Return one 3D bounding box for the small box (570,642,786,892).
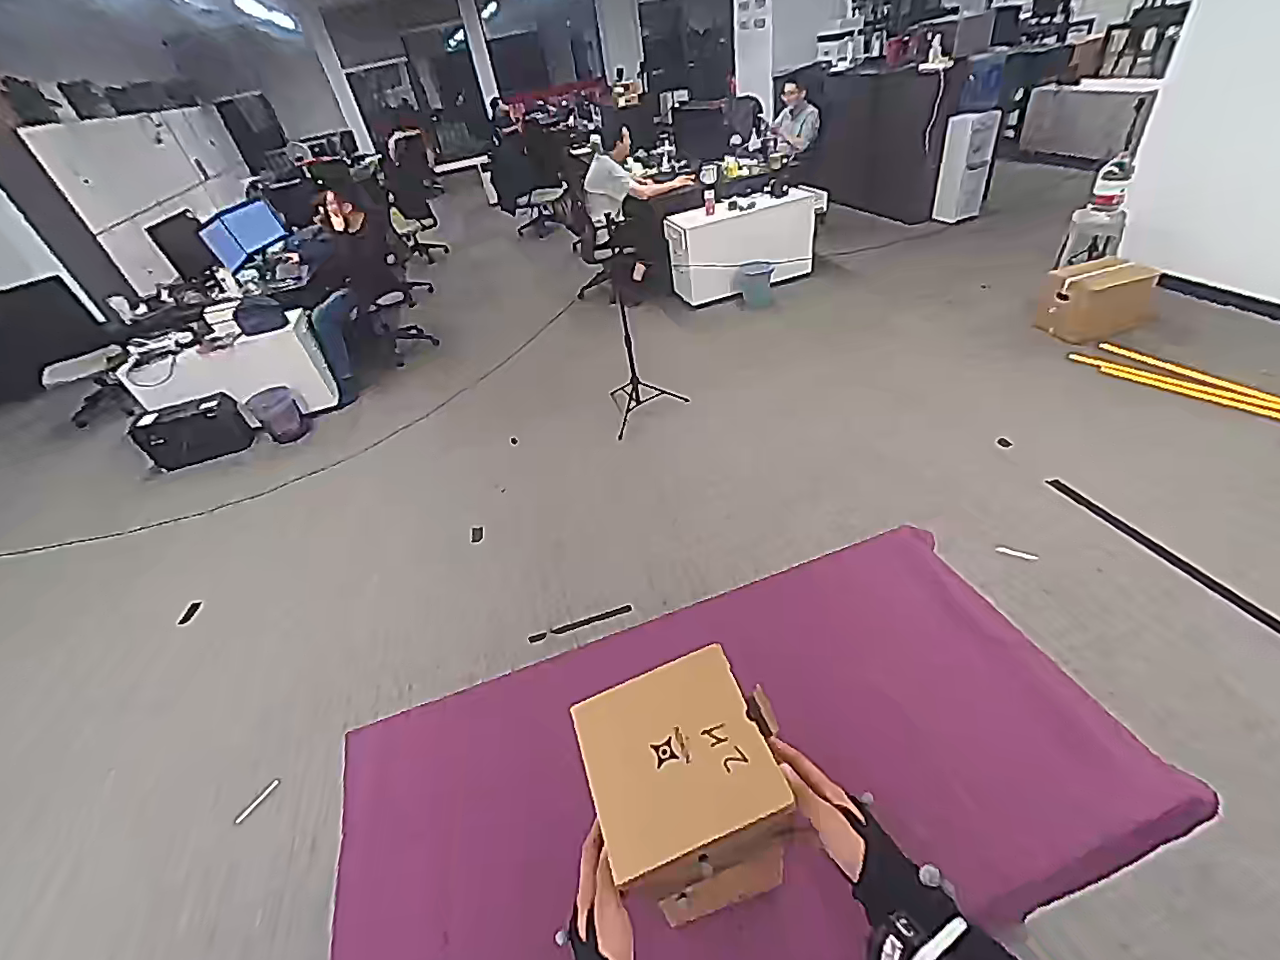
[{"bbox_3d":[0.044,0.314,0.587,0.179,0.176,0.168,-21,47,-5],"label":"small box"}]
